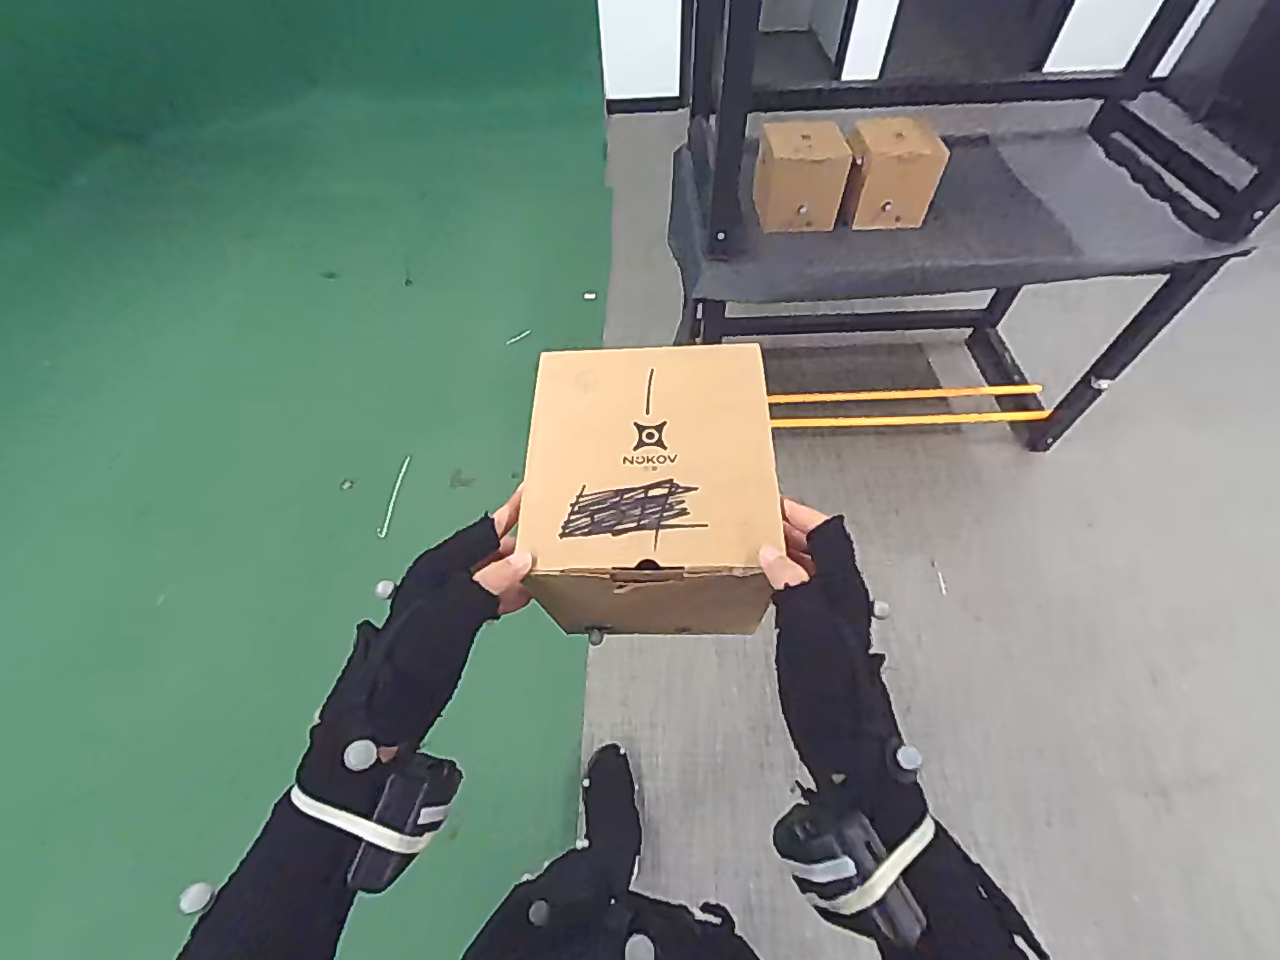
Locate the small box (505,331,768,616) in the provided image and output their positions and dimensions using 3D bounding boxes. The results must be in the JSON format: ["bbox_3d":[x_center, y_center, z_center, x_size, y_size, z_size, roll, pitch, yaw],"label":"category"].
[{"bbox_3d":[0.005,0.006,0.435,0.168,0.176,0.179,-1,61,4],"label":"small box"}]

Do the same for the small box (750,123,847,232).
[{"bbox_3d":[0.357,-0.701,1.255,0.168,0.176,0.179,-2,54,1],"label":"small box"}]
